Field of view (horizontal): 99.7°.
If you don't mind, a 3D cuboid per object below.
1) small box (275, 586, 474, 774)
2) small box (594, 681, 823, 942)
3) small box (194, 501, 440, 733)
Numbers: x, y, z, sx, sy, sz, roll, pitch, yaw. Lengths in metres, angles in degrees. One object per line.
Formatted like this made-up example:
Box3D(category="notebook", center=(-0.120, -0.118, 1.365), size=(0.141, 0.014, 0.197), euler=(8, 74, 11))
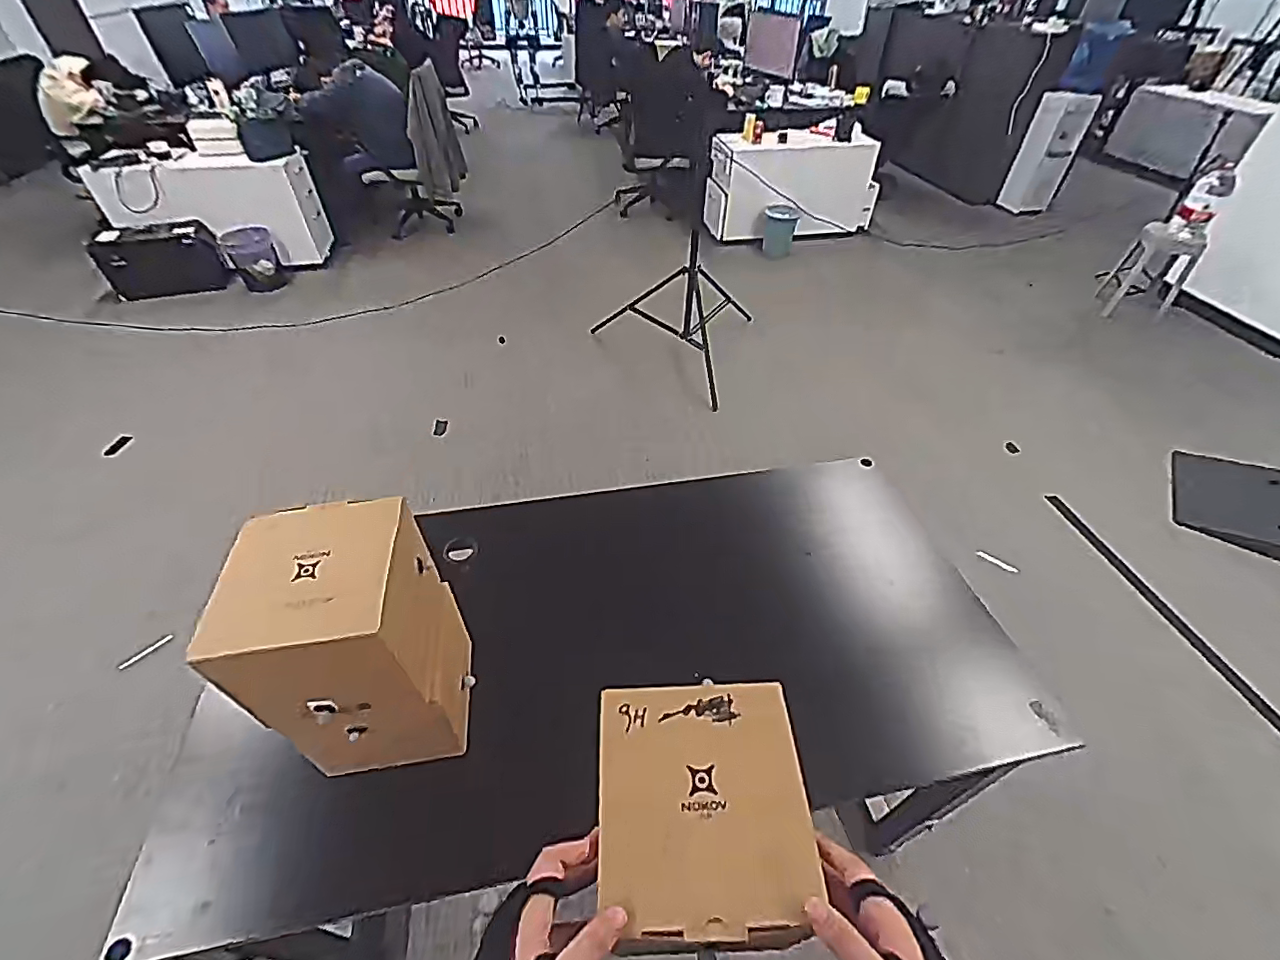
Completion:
Box3D(category="small box", center=(-0.329, 0.265, 0.713), size=(0.179, 0.176, 0.168), euler=(-6, 45, -8))
Box3D(category="small box", center=(0.050, 0.304, 0.494), size=(0.168, 0.176, 0.179), euler=(-2, 46, -1))
Box3D(category="small box", center=(-0.329, 0.149, 0.599), size=(0.168, 0.176, 0.179), euler=(-8, 46, -7))
